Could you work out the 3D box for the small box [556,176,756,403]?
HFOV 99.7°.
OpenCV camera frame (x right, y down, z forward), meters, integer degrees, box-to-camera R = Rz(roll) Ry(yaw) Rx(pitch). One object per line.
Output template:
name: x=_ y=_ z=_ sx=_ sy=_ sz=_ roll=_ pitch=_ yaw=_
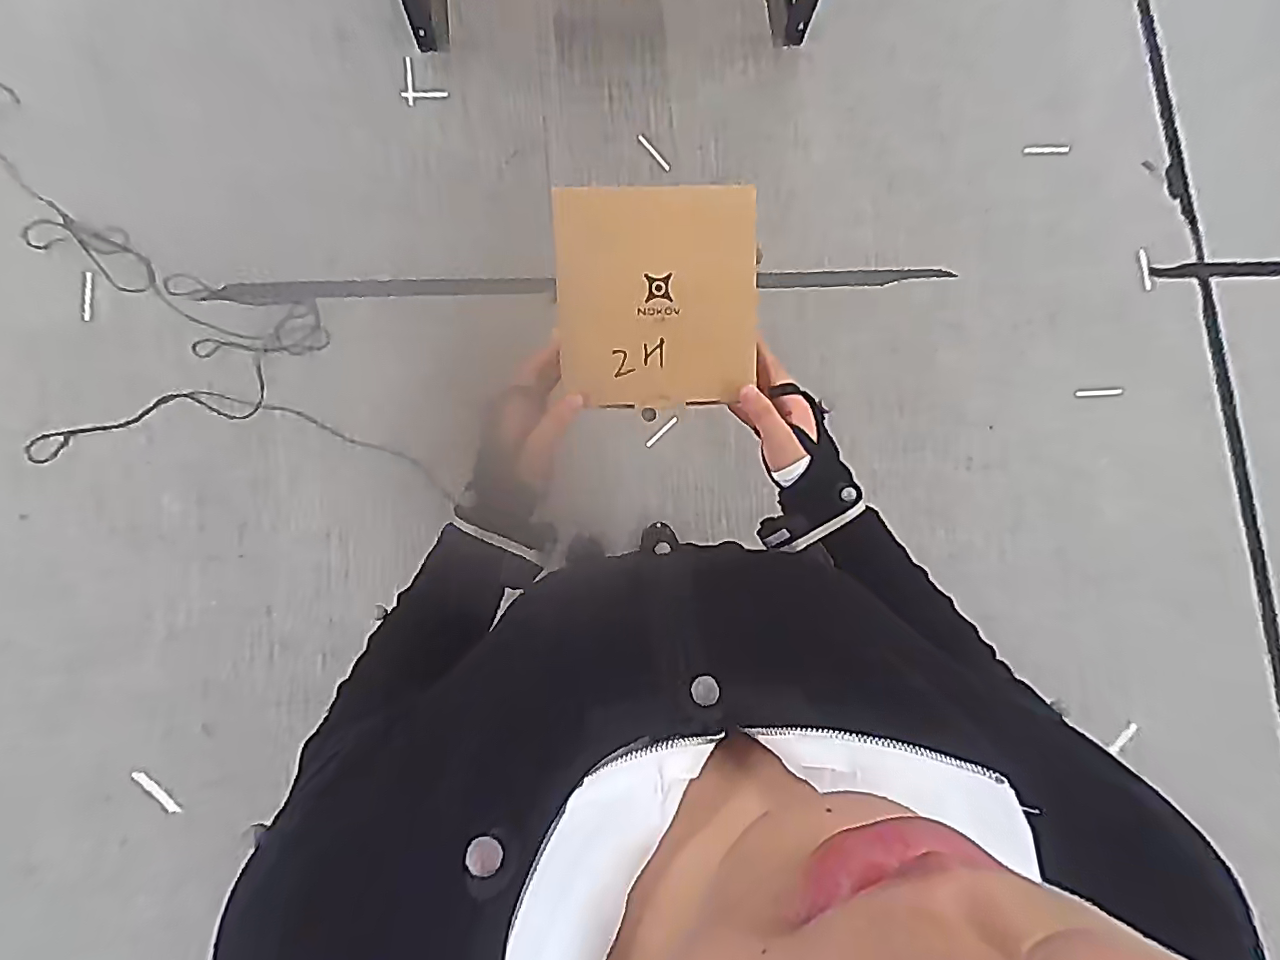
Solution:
small box: x=0.010 y=-0.167 z=0.524 sx=0.168 sy=0.176 sz=0.179 roll=-3 pitch=97 yaw=-2
